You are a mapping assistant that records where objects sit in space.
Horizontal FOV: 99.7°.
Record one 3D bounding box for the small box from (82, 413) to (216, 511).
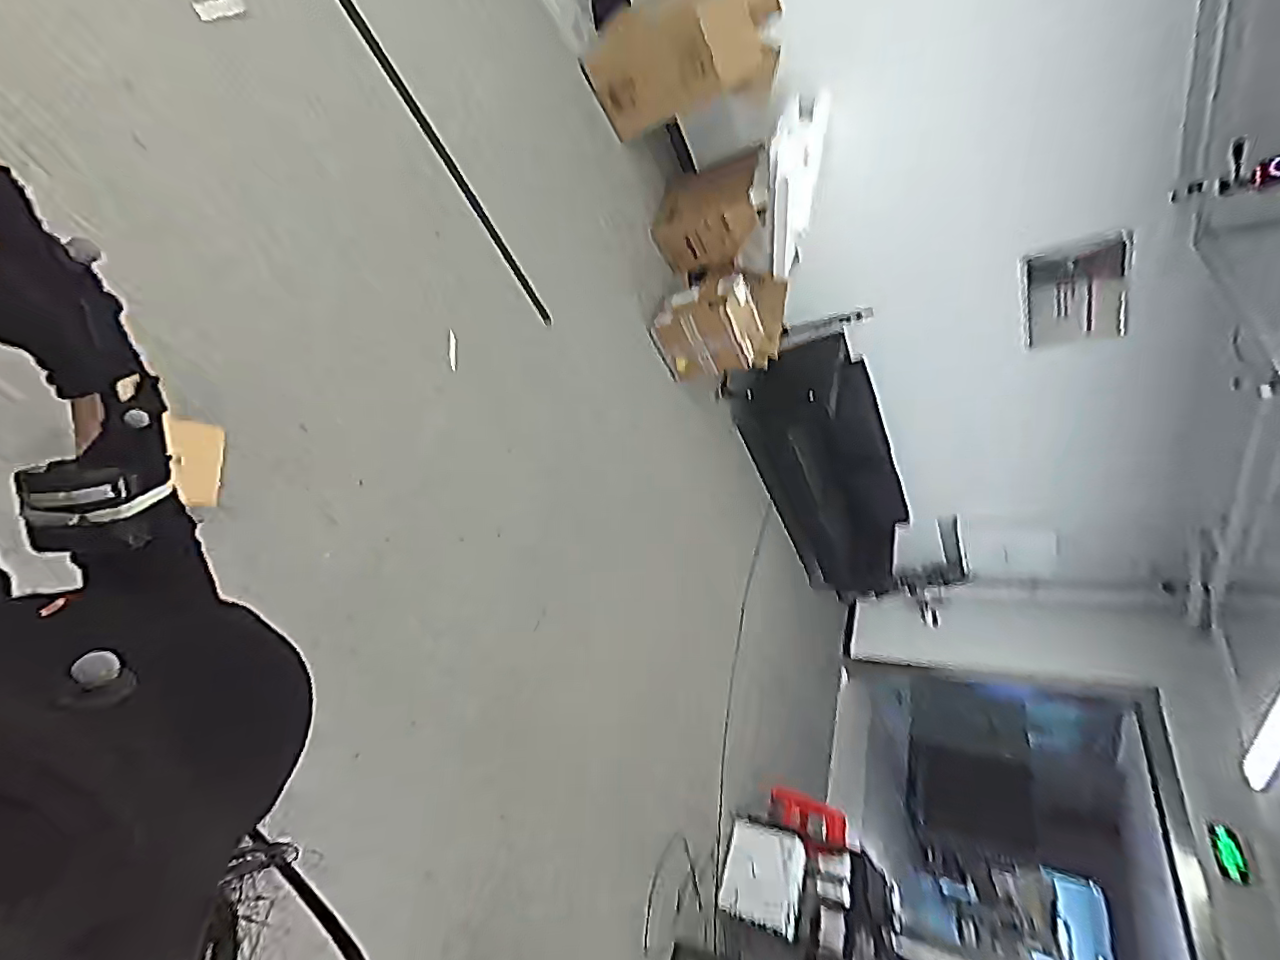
[{"bbox_3d":[-1.044,-0.028,1.150,0.168,0.176,0.179,14,73,-57],"label":"small box"}]
